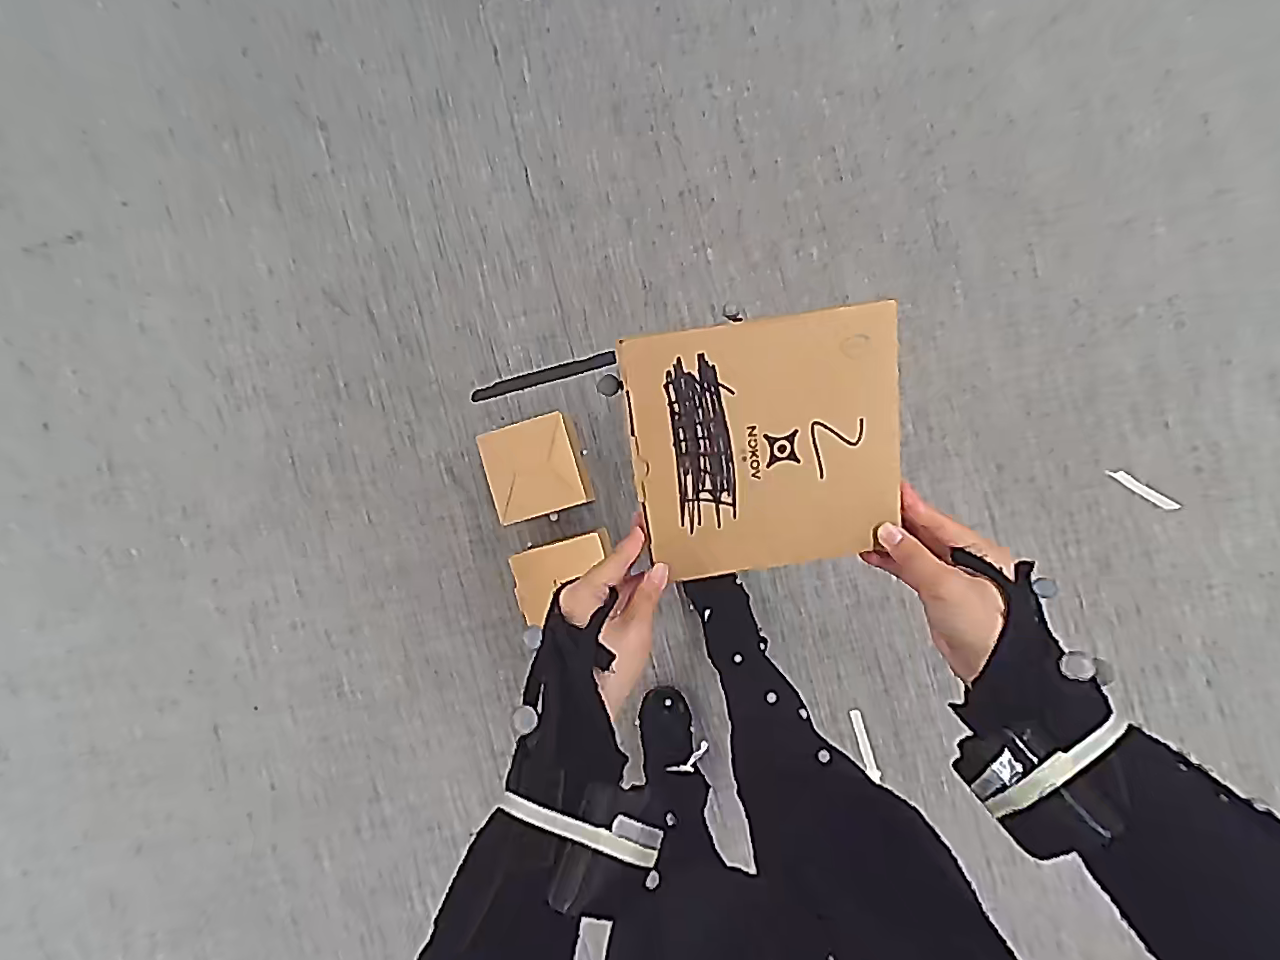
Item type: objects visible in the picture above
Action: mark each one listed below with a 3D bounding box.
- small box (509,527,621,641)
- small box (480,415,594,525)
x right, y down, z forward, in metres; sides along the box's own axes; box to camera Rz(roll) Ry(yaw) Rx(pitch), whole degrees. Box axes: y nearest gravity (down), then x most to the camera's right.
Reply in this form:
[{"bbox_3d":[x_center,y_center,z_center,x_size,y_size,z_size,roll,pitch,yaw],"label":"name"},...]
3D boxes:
[{"bbox_3d":[-0.138,0.196,1.070,0.179,0.176,0.168,-15,89,1],"label":"small box"},{"bbox_3d":[-0.199,-0.020,1.067,0.168,0.176,0.179,-17,89,2],"label":"small box"}]
